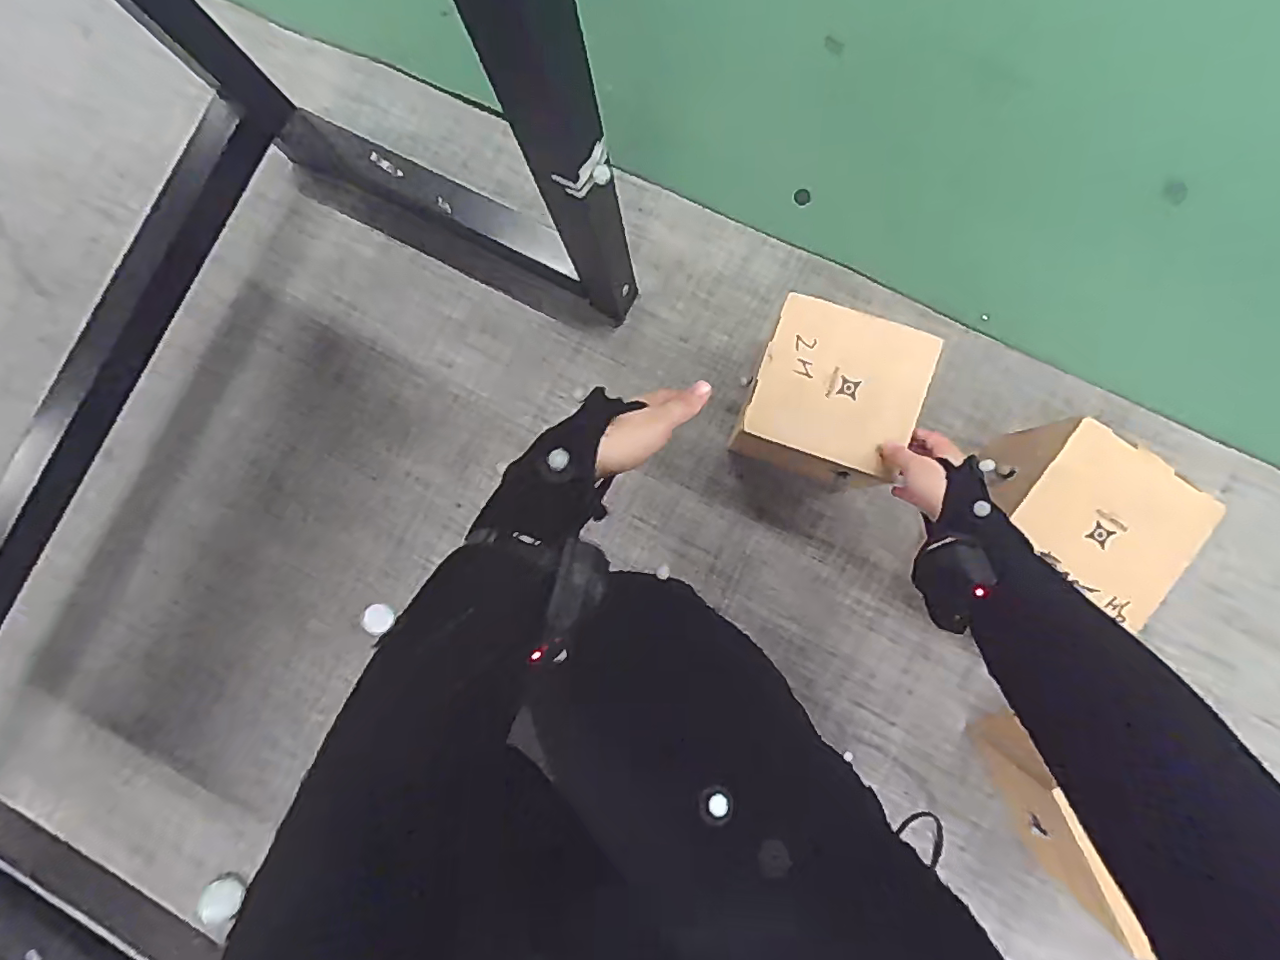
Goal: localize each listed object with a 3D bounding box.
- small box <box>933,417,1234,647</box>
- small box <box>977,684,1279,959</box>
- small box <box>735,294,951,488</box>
[{"bbox_3d":[0.482,0.054,0.624,0.168,0.176,0.179,37,91,6],"label":"small box"},{"bbox_3d":[0.526,0.359,0.602,0.168,0.176,0.179,-24,84,3],"label":"small box"},{"bbox_3d":[0.228,-0.094,0.655,0.179,0.176,0.168,20,88,6],"label":"small box"}]
